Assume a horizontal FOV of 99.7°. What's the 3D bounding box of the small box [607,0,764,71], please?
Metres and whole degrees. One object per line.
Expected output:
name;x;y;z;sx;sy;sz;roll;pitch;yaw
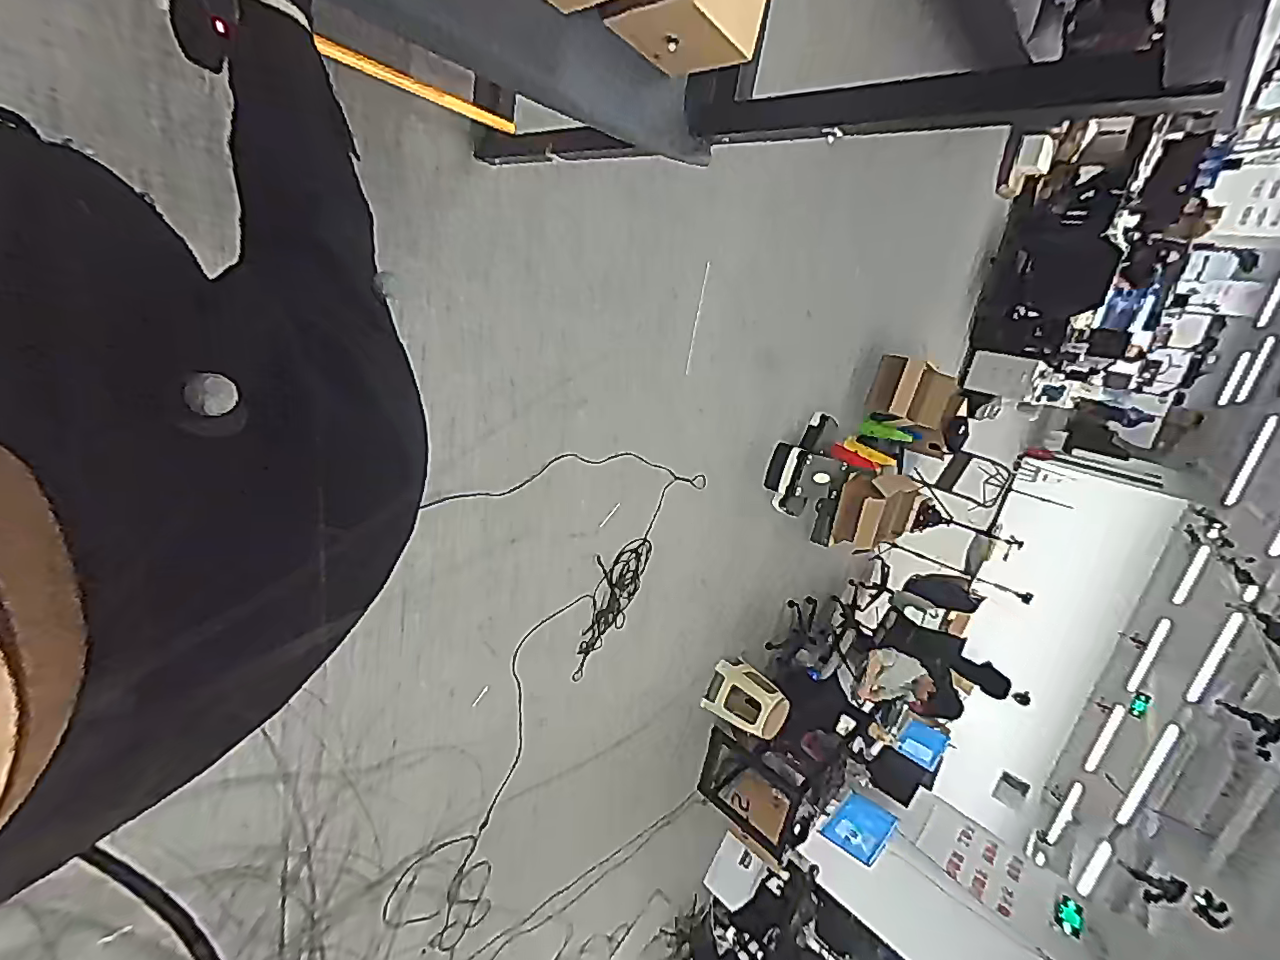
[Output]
small box;0.072;-0.741;0.792;0.168;0.176;0.179;-4;111;-48
